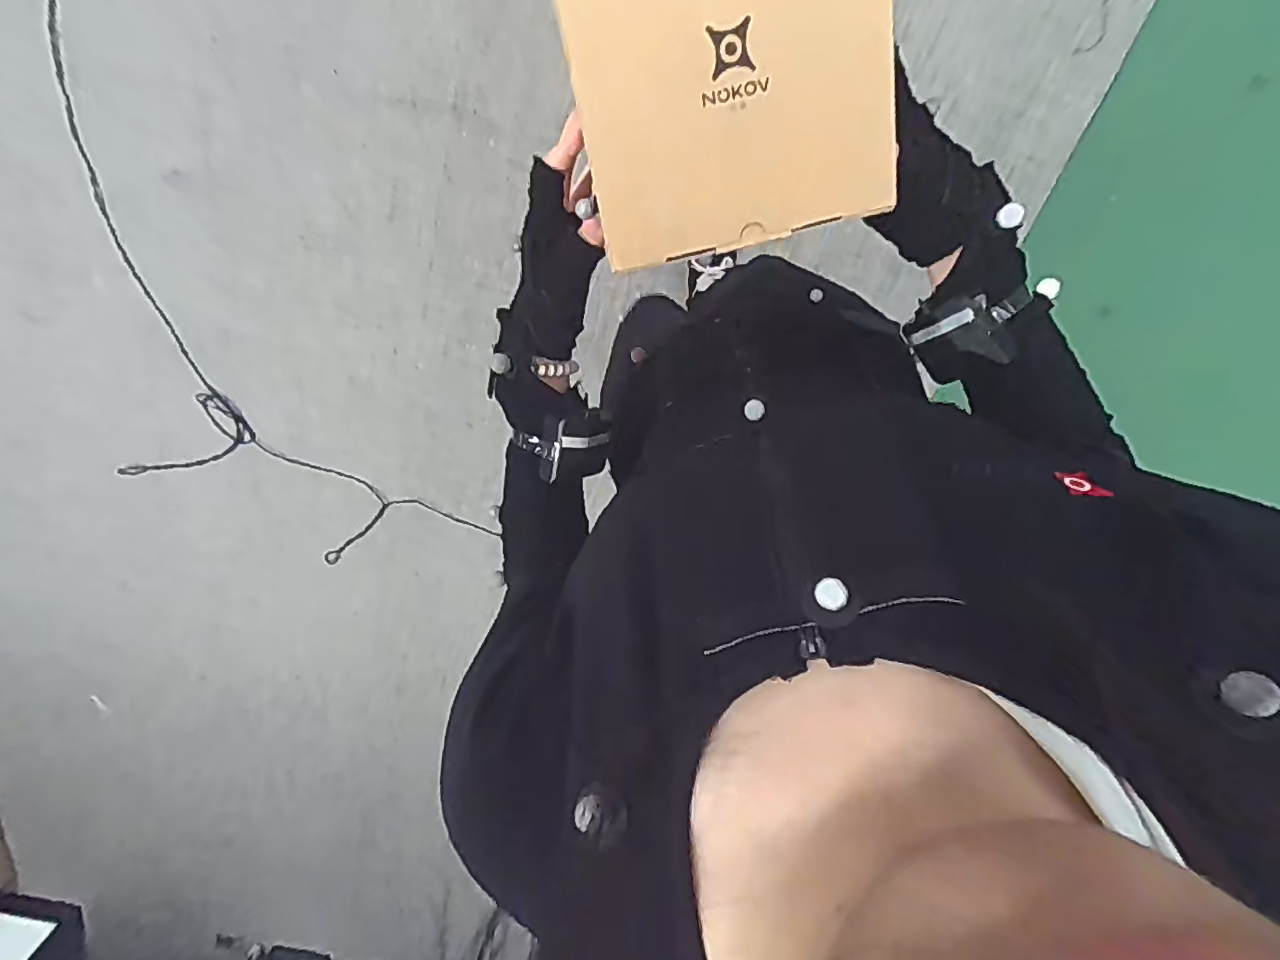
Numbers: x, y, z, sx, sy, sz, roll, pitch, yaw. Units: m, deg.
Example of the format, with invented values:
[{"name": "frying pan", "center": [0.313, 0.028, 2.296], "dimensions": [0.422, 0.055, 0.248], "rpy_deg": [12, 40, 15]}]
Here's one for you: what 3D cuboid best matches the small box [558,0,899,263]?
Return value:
[{"name": "small box", "center": [0.044, -0.251, 0.347], "dimensions": [0.168, 0.176, 0.179], "rpy_deg": [-13, 115, 3]}]
